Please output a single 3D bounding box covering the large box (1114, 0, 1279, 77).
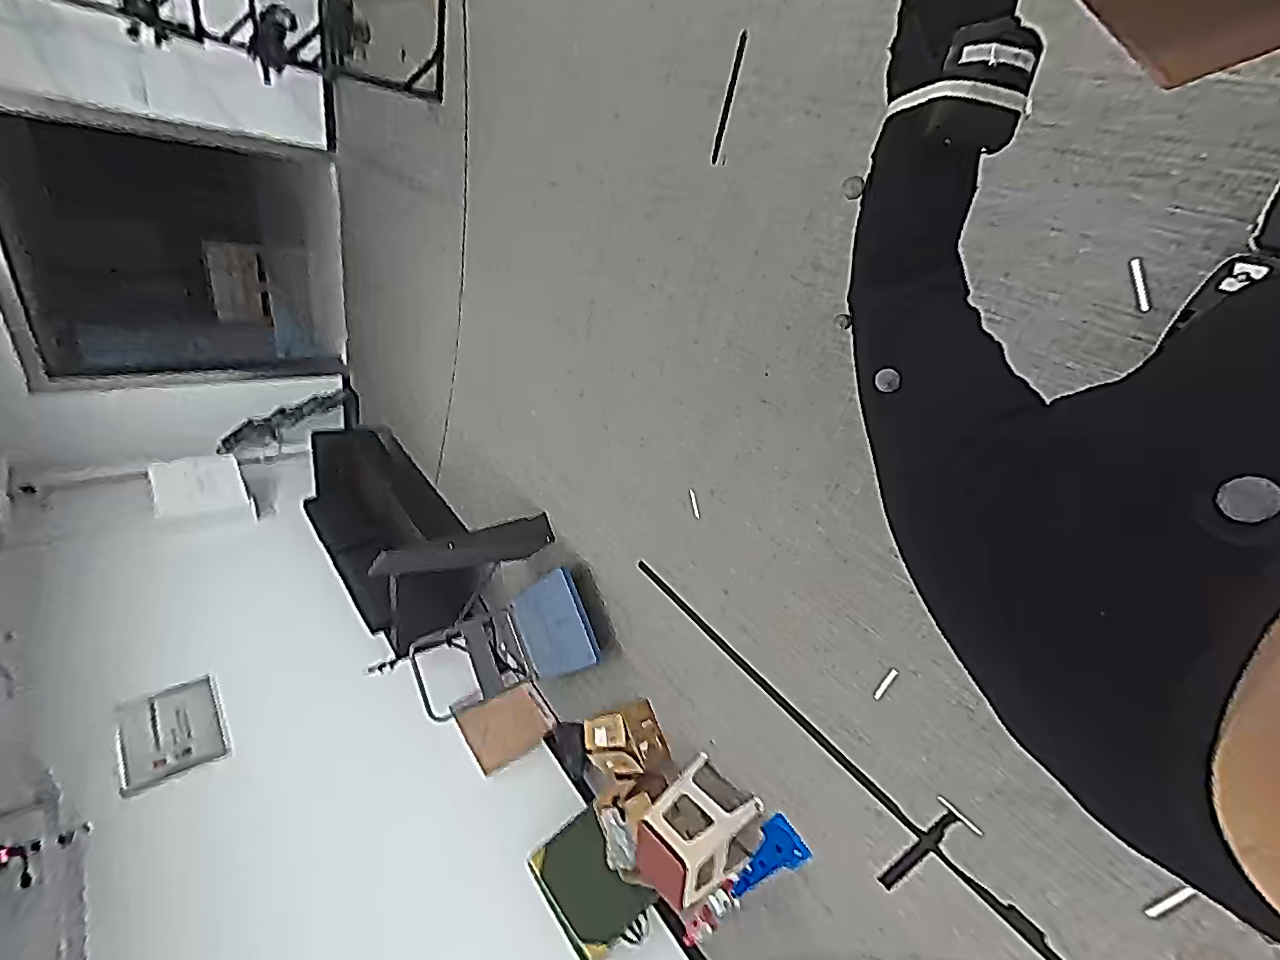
[{"bbox_3d":[0.498,-0.492,0.256,0.408,0.320,0.320,4,107,50],"label":"large box"}]

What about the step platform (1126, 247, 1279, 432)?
[{"bbox_3d":[1.308,-0.187,0.941,0.684,0.204,0.286,38,128,38],"label":"step platform"}]
